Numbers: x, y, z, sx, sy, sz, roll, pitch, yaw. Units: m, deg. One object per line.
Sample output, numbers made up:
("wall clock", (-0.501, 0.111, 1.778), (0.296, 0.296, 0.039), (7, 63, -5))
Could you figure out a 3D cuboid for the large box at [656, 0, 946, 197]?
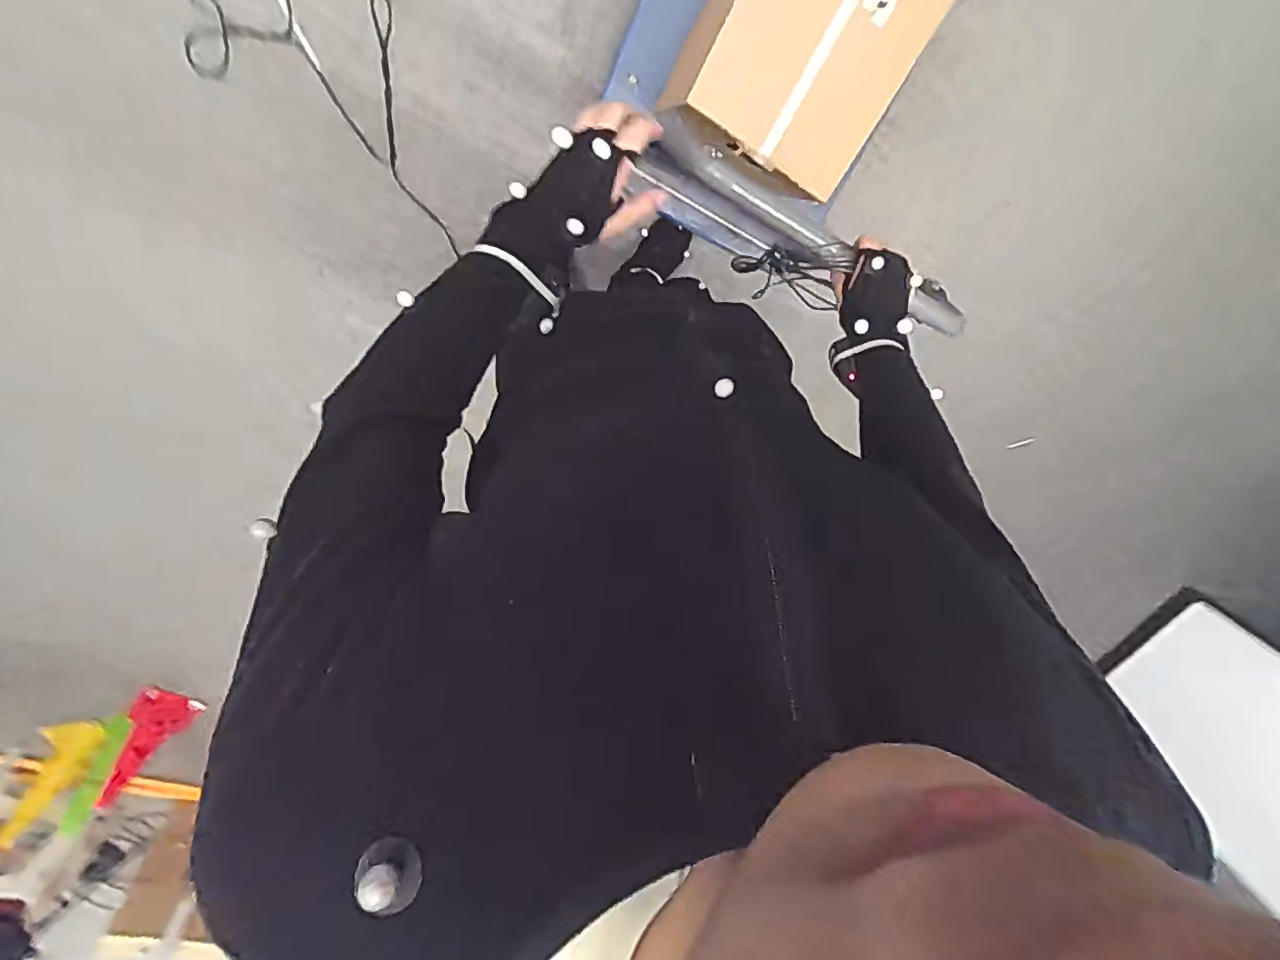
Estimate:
("large box", (0.272, -0.789, 0.972), (0.320, 0.320, 0.408), (22, 114, -22))
